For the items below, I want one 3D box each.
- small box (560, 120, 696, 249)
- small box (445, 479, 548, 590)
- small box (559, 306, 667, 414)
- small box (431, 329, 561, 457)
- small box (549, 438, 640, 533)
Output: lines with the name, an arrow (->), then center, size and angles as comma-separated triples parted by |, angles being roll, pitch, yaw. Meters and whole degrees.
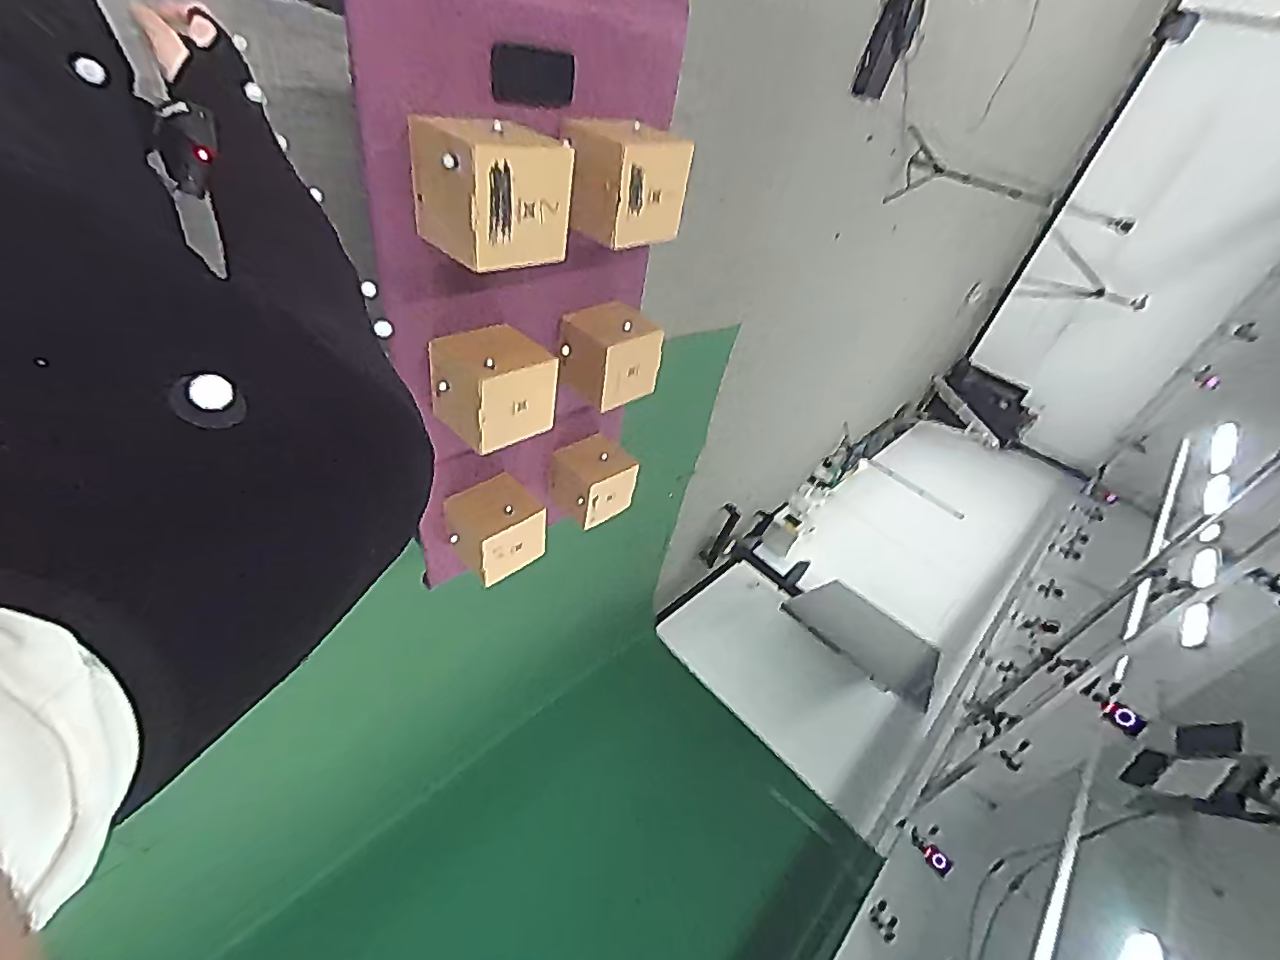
small box -> -0.029, -0.544, 0.992 | 0.179, 0.176, 0.168 | -29, 145, -37
small box -> -0.344, 0.123, 1.306 | 0.179, 0.176, 0.168 | -28, 143, -36
small box -> -0.068, -0.284, 1.246 | 0.179, 0.176, 0.168 | -28, 143, -36
small box -> -0.281, -0.177, 1.054 | 0.179, 0.176, 0.168 | -27, 144, -39
small box -> -0.128, 0.008, 1.496 | 0.179, 0.176, 0.168 | -27, 143, -38
